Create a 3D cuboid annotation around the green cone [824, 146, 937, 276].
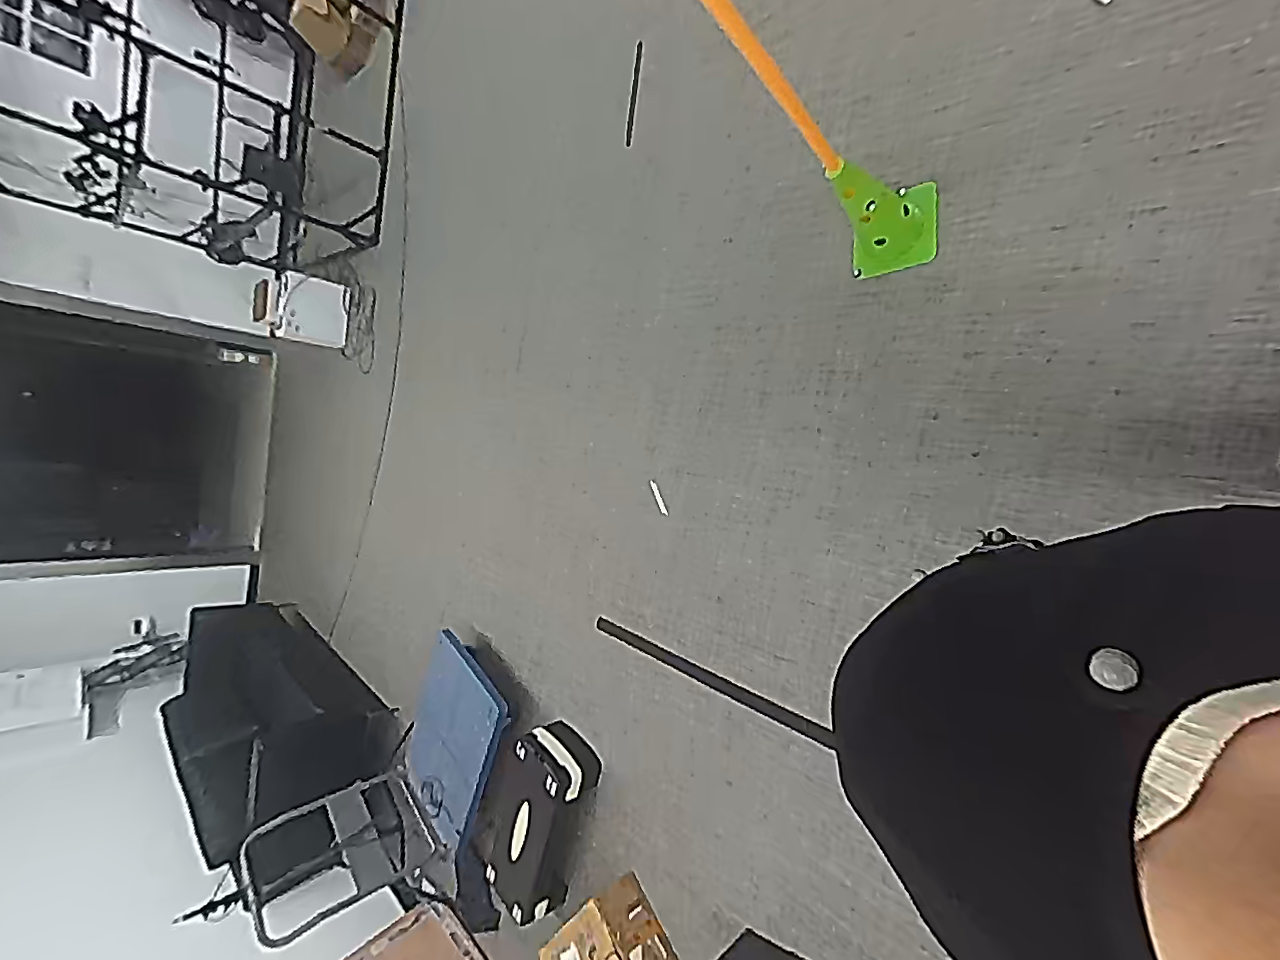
[{"bbox_3d":[0.519,-0.642,1.230,0.200,0.368,0.202,-2,84,43],"label":"green cone"}]
